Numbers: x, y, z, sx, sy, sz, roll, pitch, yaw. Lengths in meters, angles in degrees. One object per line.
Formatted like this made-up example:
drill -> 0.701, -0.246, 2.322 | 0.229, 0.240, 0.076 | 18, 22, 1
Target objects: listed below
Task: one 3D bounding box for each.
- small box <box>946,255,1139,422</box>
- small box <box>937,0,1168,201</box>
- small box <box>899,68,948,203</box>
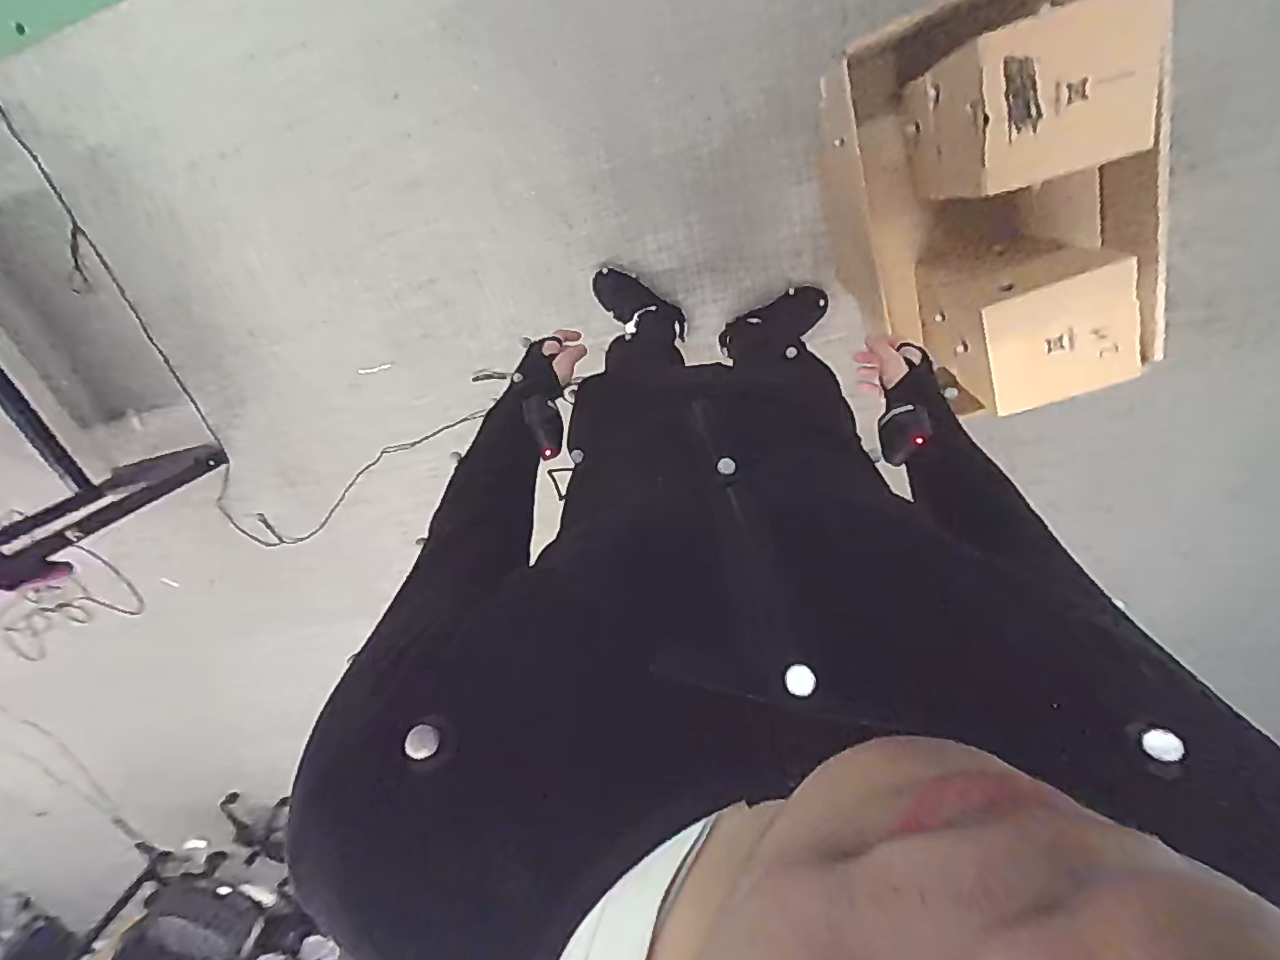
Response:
small box -> 0.567, -0.209, 0.784 | 0.179, 0.176, 0.168 | -17, 114, 17
small box -> 0.486, -0.456, 0.670 | 0.179, 0.176, 0.168 | -11, 115, 13
small box -> 0.507, -0.532, 0.813 | 0.179, 0.176, 0.168 | -15, 113, 15
